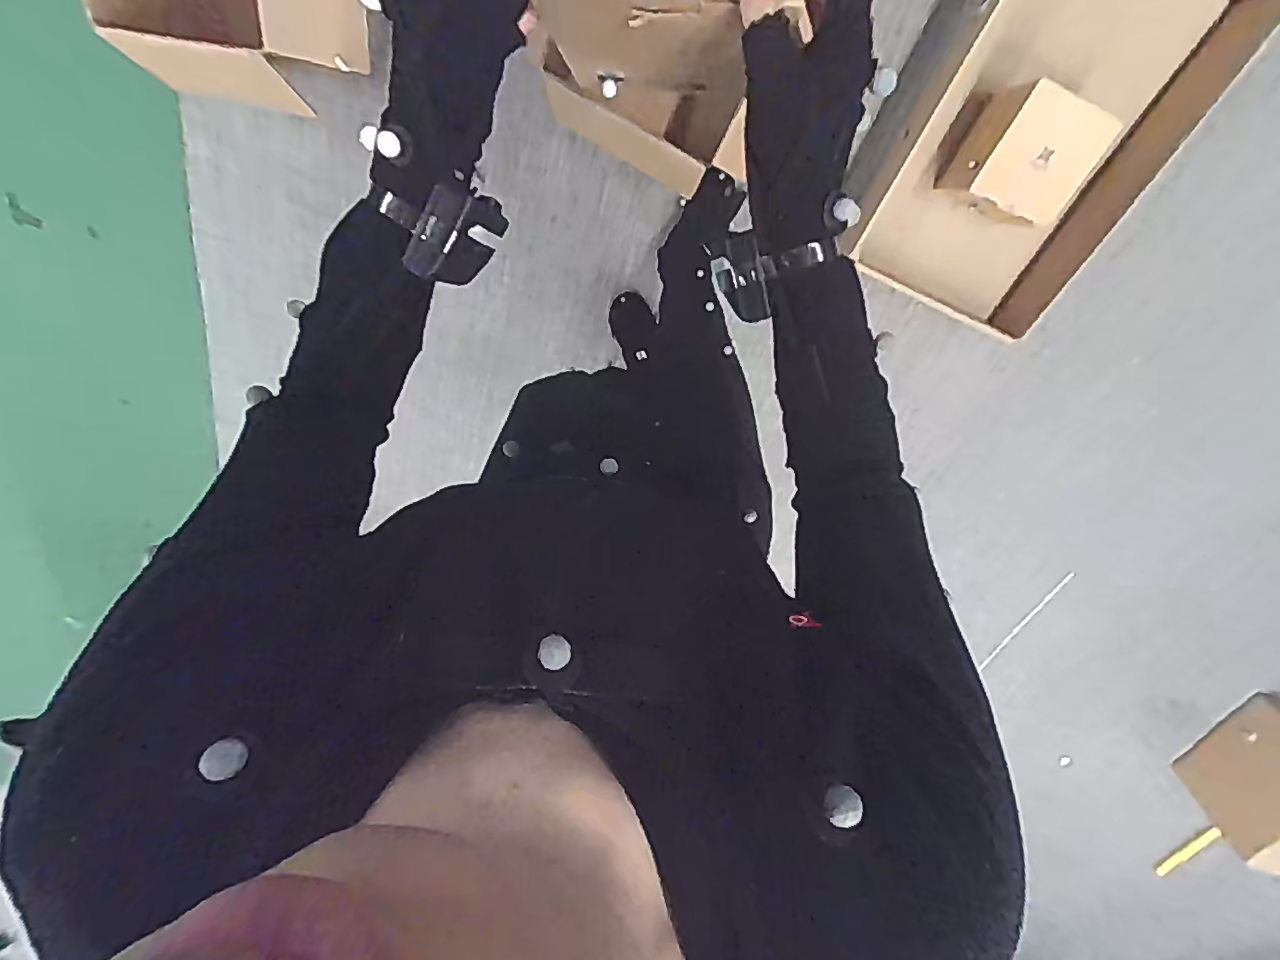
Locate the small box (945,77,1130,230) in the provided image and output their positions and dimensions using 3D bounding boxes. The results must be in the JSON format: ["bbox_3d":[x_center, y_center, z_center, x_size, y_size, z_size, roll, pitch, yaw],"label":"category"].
[{"bbox_3d":[0.691,-0.577,0.969,0.168,0.176,0.179,22,120,-5],"label":"small box"}]

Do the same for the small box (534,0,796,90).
[{"bbox_3d":[0.029,-0.389,0.359,0.168,0.176,0.179,7,109,4],"label":"small box"}]
